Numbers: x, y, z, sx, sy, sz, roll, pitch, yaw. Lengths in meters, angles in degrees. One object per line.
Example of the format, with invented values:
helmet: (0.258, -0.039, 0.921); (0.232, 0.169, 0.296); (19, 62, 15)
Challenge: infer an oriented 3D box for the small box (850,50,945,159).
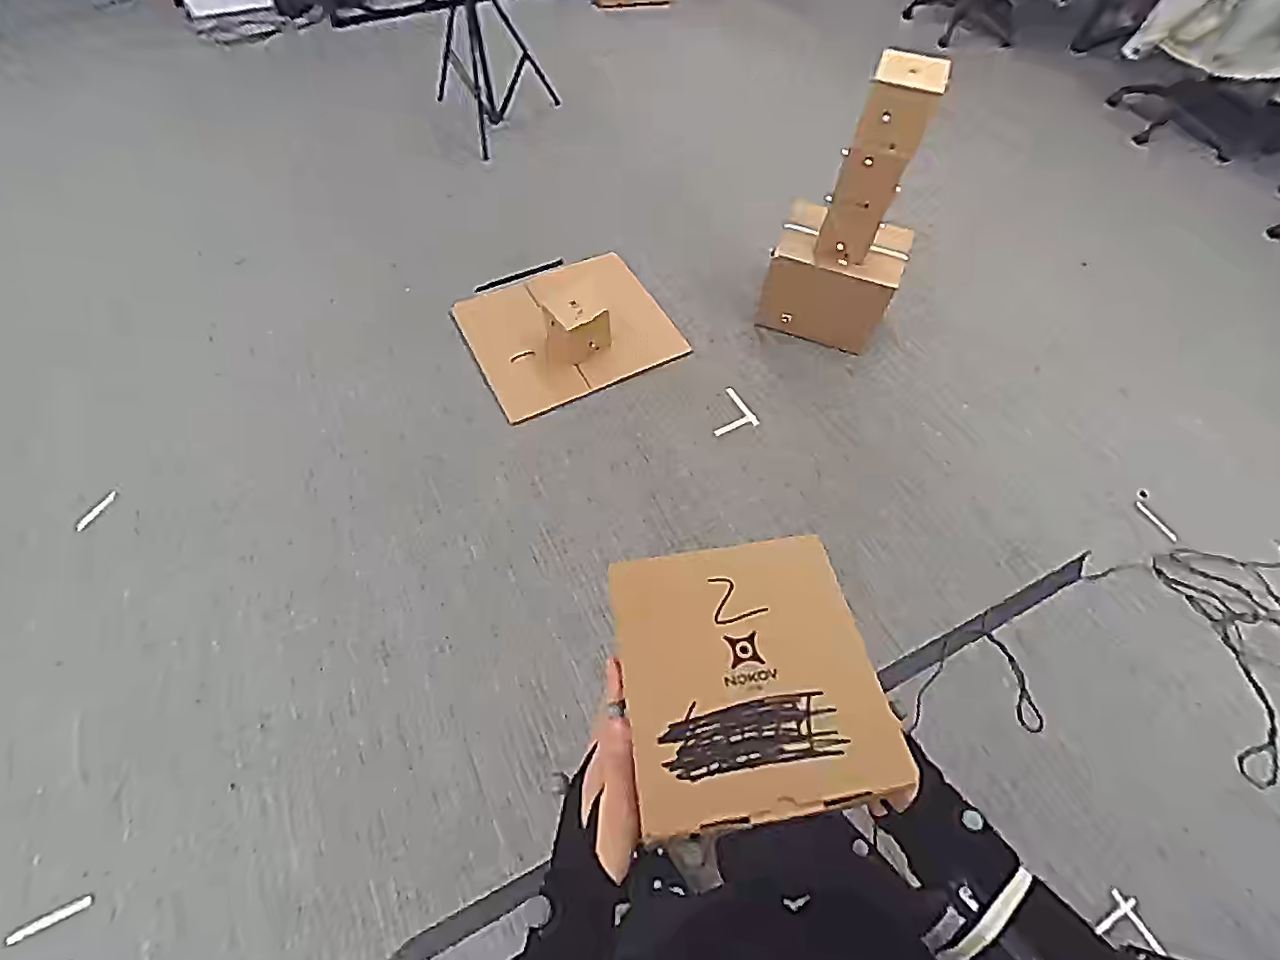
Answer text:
small box: (0.669, -0.980, 1.418); (0.168, 0.176, 0.179); (19, 61, 10)

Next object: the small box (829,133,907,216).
small box: (0.663, -0.903, 1.562); (0.168, 0.176, 0.179); (20, 61, 10)

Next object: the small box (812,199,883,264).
small box: (0.659, -0.819, 1.702); (0.168, 0.176, 0.179); (19, 62, 10)

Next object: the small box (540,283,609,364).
small box: (-0.221, -0.538, 1.868); (0.168, 0.176, 0.179); (-34, 67, -16)
